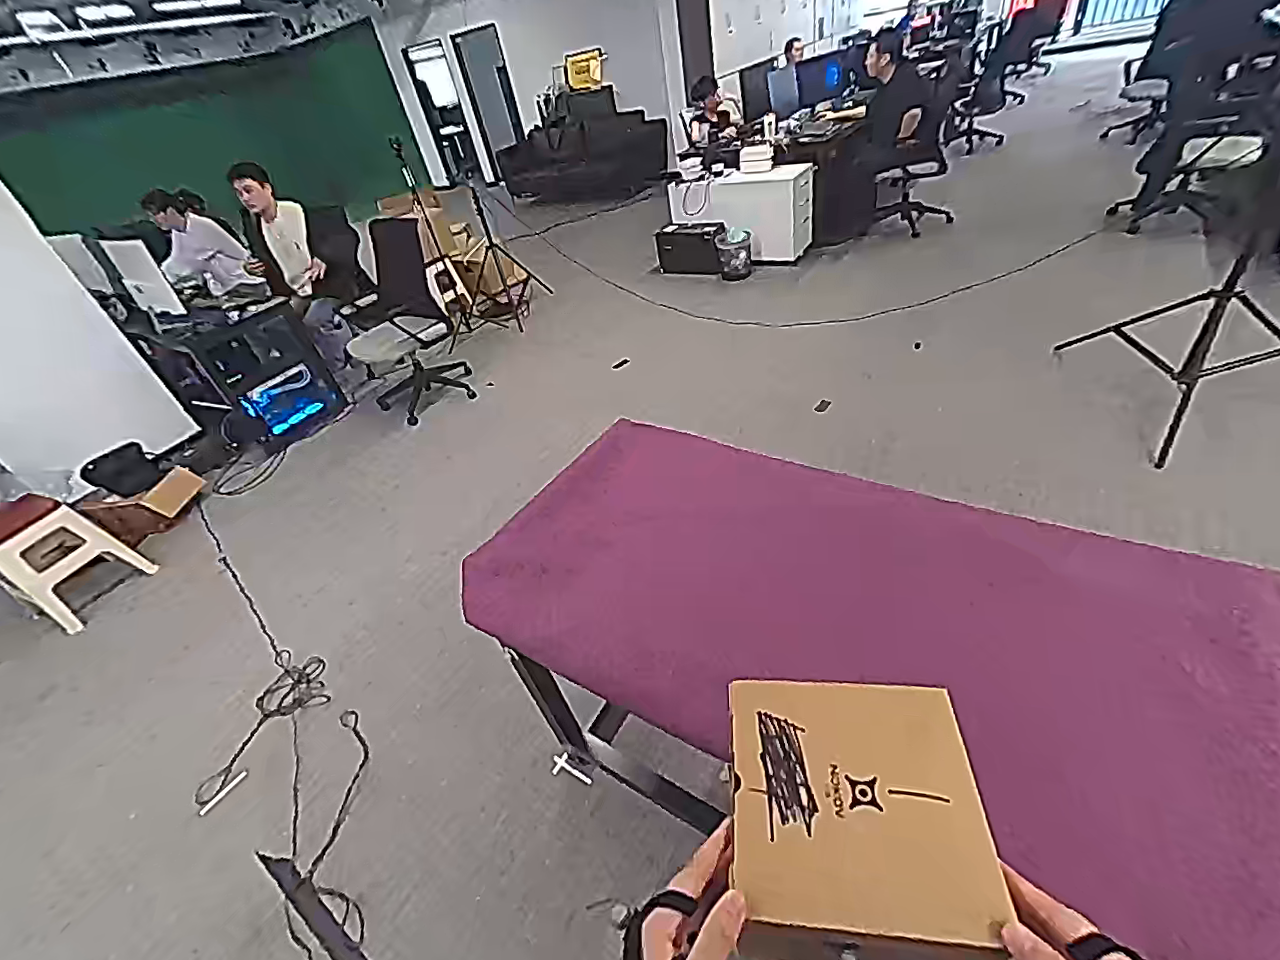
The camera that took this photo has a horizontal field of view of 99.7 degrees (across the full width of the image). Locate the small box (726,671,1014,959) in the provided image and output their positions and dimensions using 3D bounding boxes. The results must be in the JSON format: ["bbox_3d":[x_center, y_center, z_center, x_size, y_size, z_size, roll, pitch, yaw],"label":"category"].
[{"bbox_3d":[0.164,0.279,0.452,0.179,0.176,0.168,-1,43,10],"label":"small box"}]
